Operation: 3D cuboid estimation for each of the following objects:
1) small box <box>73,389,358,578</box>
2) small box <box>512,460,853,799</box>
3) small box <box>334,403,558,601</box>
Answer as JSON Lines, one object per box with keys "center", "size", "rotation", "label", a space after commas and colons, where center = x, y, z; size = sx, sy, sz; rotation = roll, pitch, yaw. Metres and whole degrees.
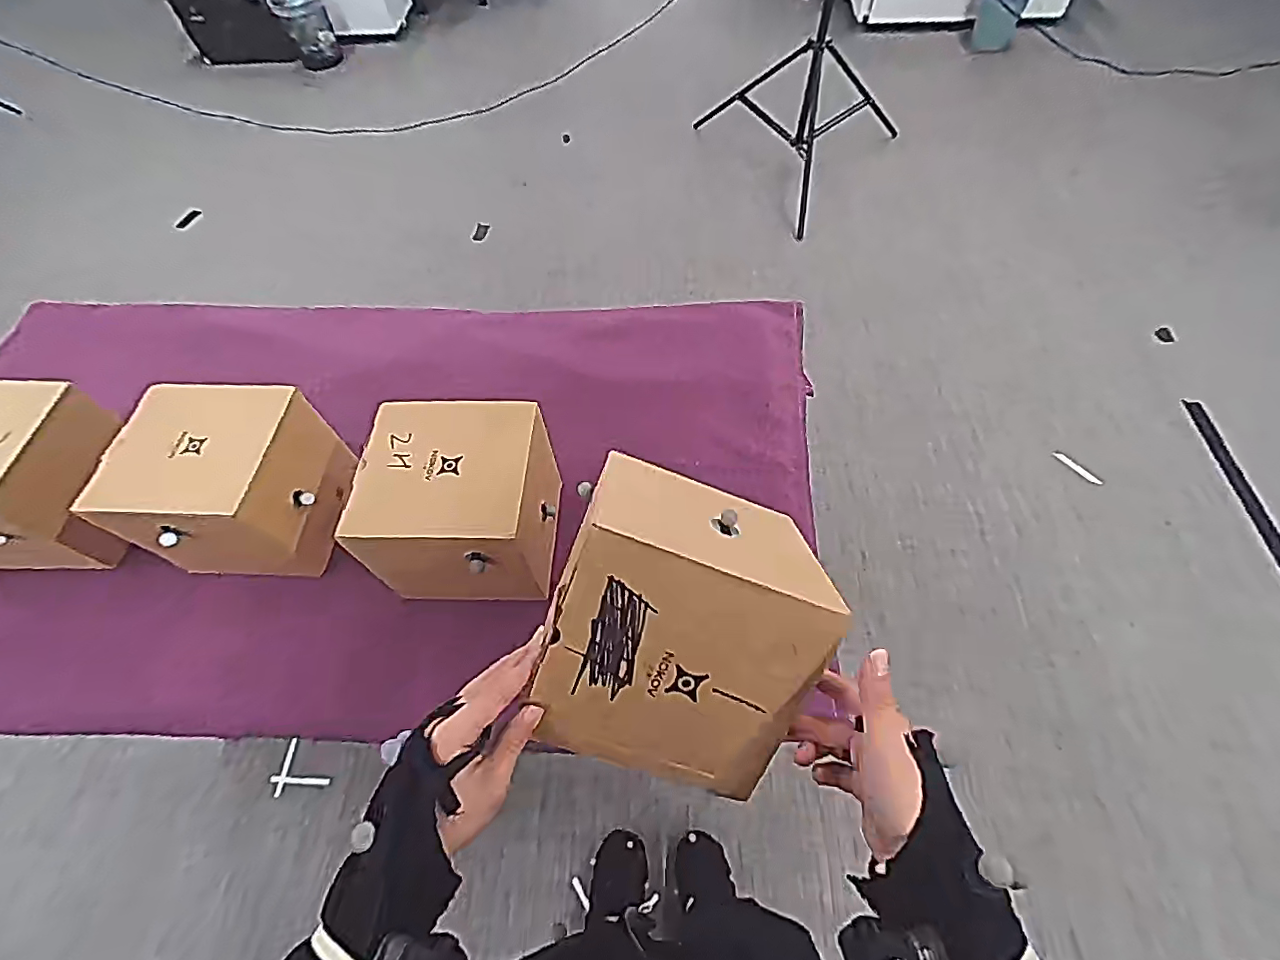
{"center": [-0.472, 0.010, 0.641], "size": [0.179, 0.176, 0.168], "rotation": [1, 59, 4], "label": "small box"}
{"center": [0.024, 0.099, 0.423], "size": [0.179, 0.168, 0.176], "rotation": [20, 20, -7], "label": "small box"}
{"center": [-0.196, 0.031, 0.611], "size": [0.179, 0.176, 0.168], "rotation": [0, 57, 3], "label": "small box"}
